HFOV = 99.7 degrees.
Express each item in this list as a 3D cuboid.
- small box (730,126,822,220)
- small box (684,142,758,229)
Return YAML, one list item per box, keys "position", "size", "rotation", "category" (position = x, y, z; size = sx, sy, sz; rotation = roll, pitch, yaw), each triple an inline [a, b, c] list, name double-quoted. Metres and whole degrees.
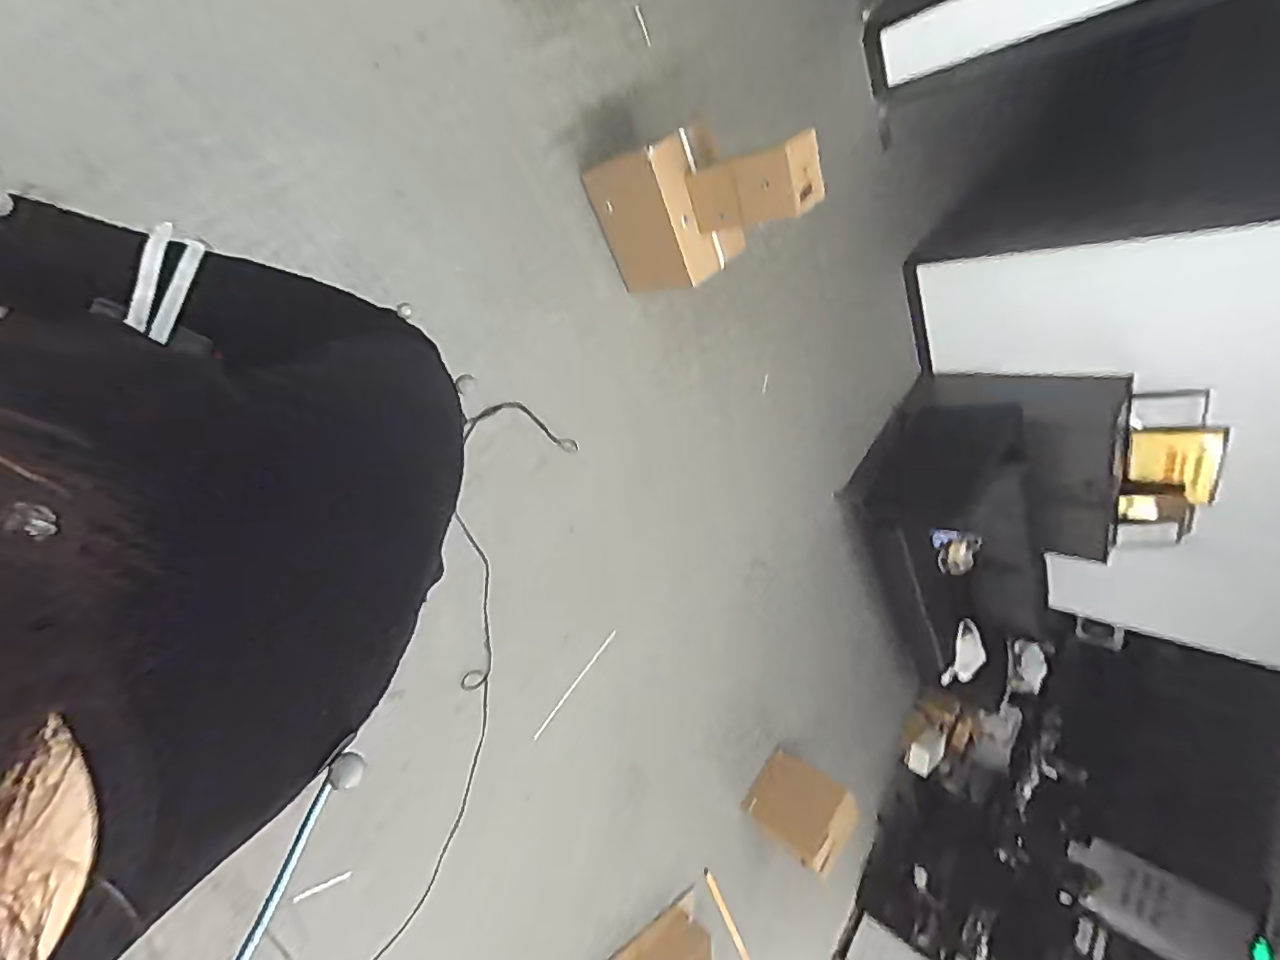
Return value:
- position: [0.372, -0.836, 1.487]
  size: [0.168, 0.176, 0.179]
  rotation: [-43, 125, -31]
  category: "small box"
- position: [0.259, -0.864, 1.603]
  size: [0.168, 0.176, 0.179]
  rotation: [-44, 126, -31]
  category: "small box"
